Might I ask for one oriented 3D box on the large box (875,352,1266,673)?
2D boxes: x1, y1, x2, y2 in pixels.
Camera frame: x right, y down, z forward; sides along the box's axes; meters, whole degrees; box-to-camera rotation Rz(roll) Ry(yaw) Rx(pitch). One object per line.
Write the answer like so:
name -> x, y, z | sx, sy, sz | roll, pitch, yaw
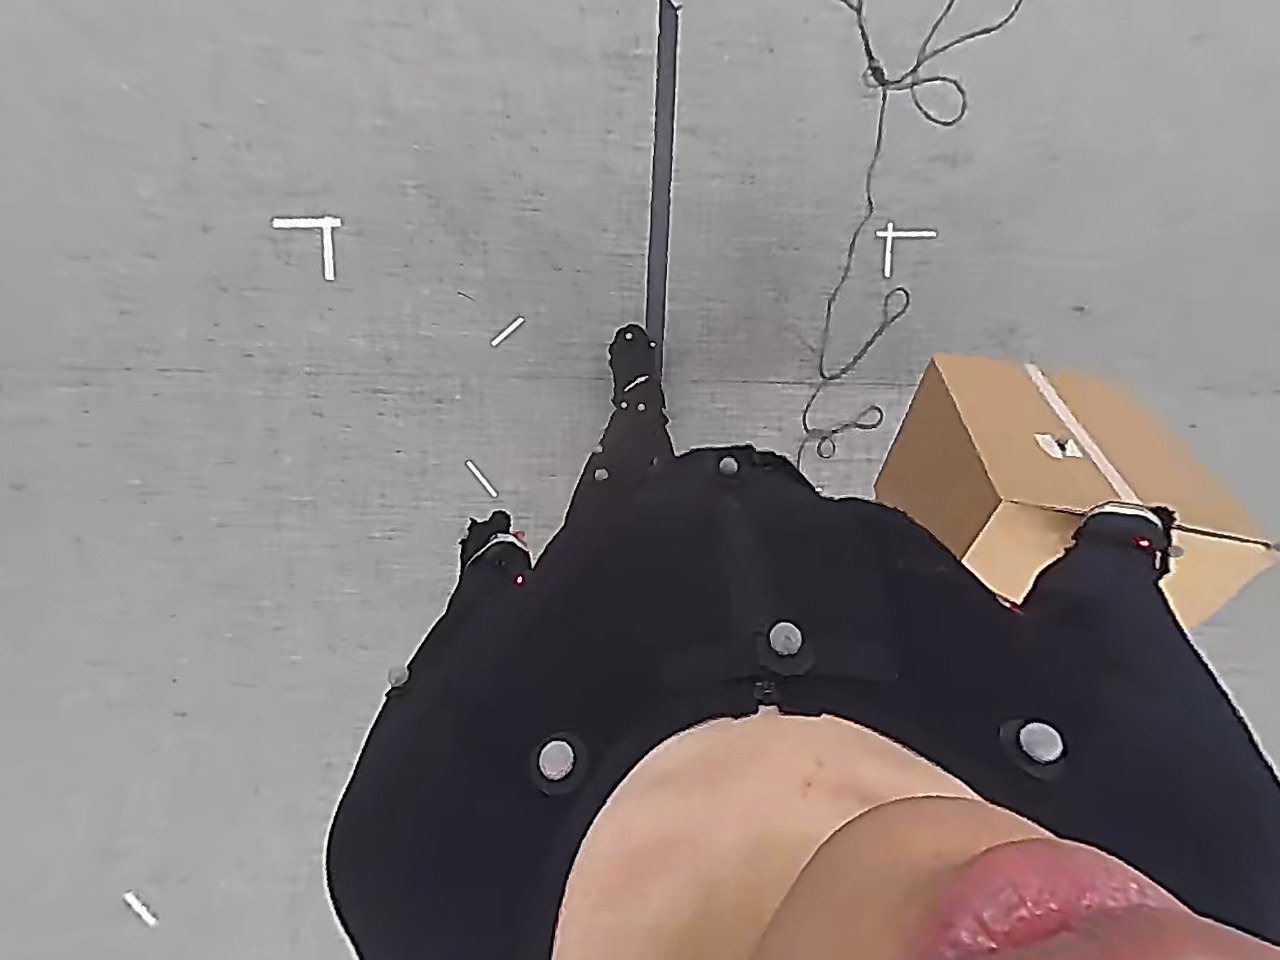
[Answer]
large box -> 0.621, 0.038, 0.899 | 0.320, 0.408, 0.320 | 10, 132, 7
